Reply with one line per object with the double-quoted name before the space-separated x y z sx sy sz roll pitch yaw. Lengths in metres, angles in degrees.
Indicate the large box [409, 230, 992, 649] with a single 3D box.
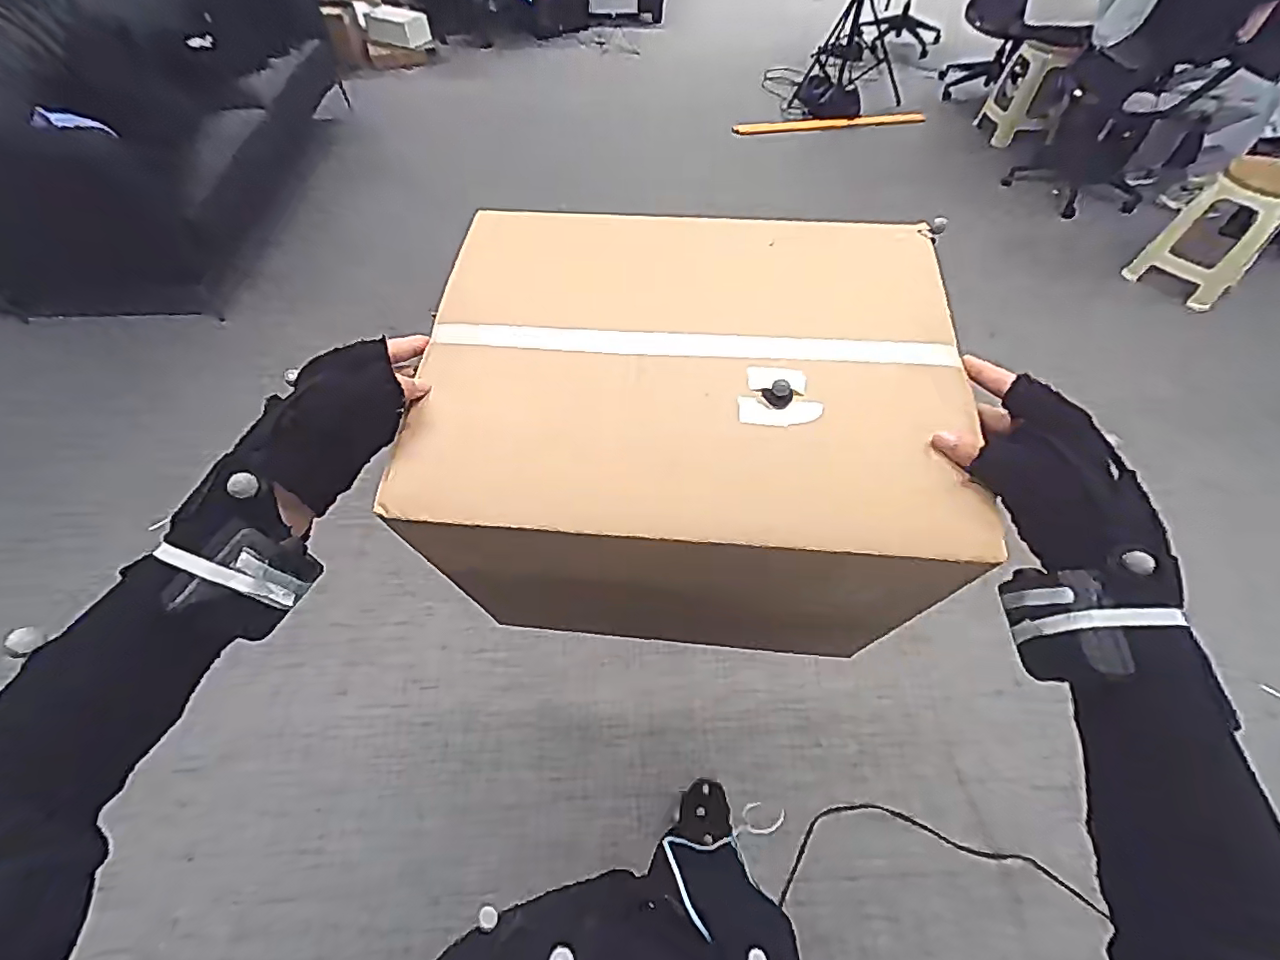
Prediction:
"large box" 0.048 -0.023 0.564 0.408 0.320 0.320 4 62 3
